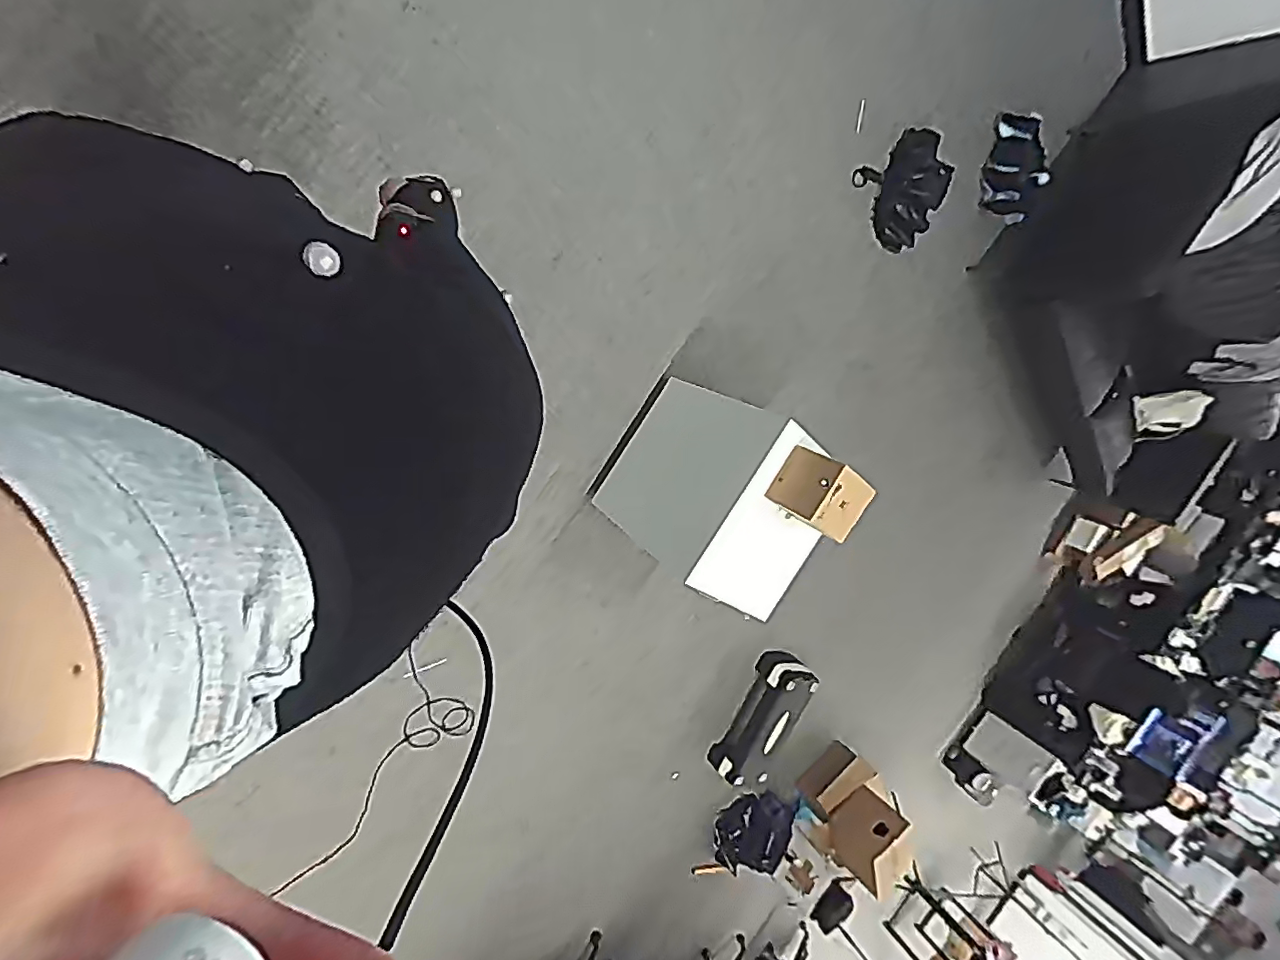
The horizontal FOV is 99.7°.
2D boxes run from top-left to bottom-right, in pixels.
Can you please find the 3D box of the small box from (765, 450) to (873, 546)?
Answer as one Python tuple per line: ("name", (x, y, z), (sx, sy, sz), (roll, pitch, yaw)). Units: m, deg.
("small box", (0.465, 0.042, 1.415), (0.179, 0.176, 0.168), (30, 93, -39))
